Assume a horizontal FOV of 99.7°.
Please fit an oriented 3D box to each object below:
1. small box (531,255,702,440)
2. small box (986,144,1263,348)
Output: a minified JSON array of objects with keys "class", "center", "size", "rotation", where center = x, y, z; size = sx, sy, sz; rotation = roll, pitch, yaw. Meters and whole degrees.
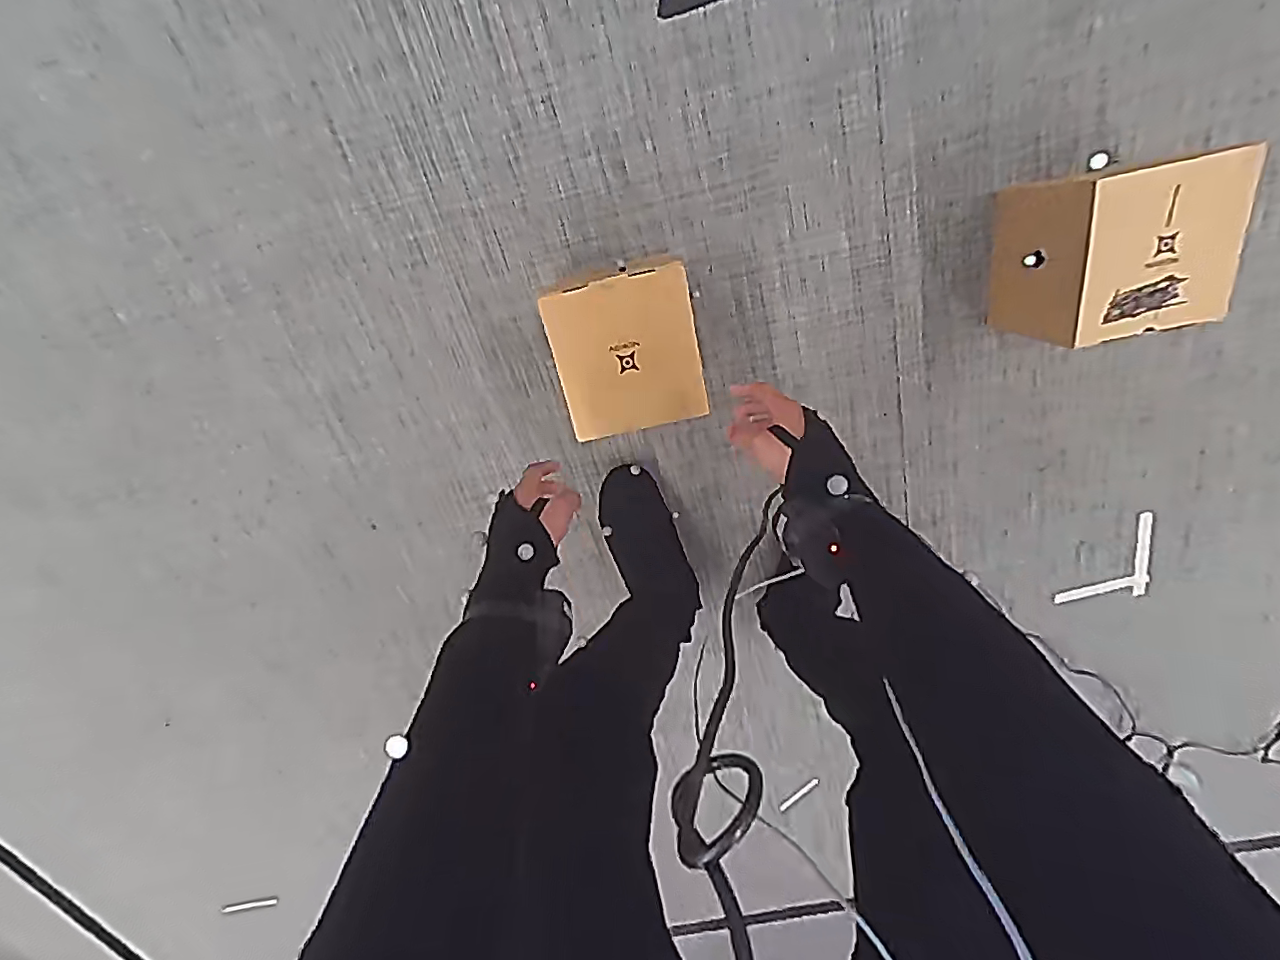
[{"class":"small box","center":[-0.021,-0.173,0.681],"size":[0.168,0.176,0.179],"rotation":[-12,114,5]},{"class":"small box","center":[0.543,-0.272,0.640],"size":[0.168,0.176,0.179],"rotation":[-11,114,3]}]
